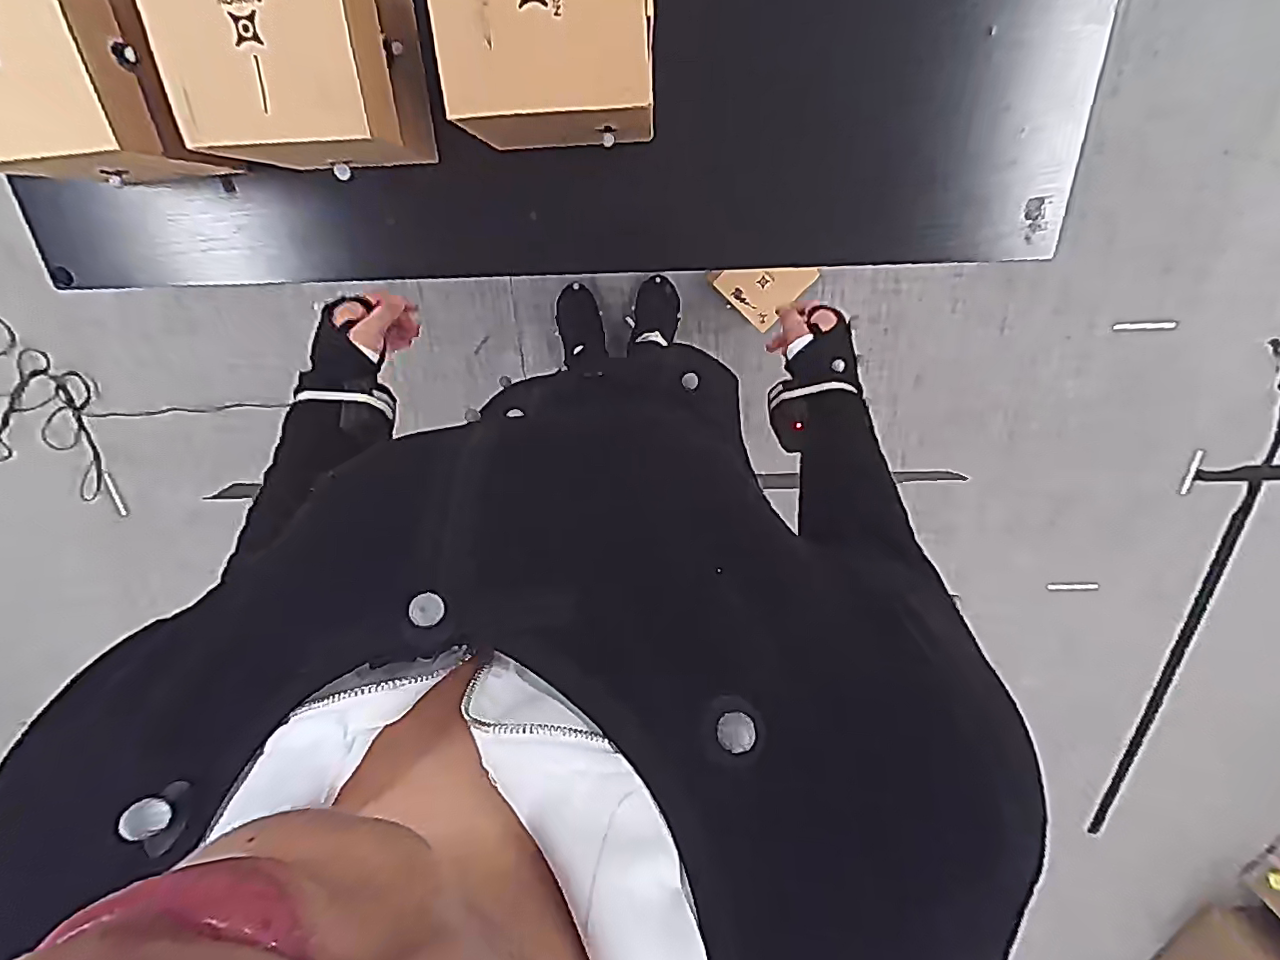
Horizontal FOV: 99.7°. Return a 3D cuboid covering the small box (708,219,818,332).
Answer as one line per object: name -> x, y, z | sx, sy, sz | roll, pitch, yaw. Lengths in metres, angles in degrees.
small box -> 0.274, -0.478, 1.257 | 0.168, 0.176, 0.179 | 39, 109, -15

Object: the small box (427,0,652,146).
small box -> -0.079, -0.415, 0.492 | 0.179, 0.176, 0.168 | -2, 113, 2
